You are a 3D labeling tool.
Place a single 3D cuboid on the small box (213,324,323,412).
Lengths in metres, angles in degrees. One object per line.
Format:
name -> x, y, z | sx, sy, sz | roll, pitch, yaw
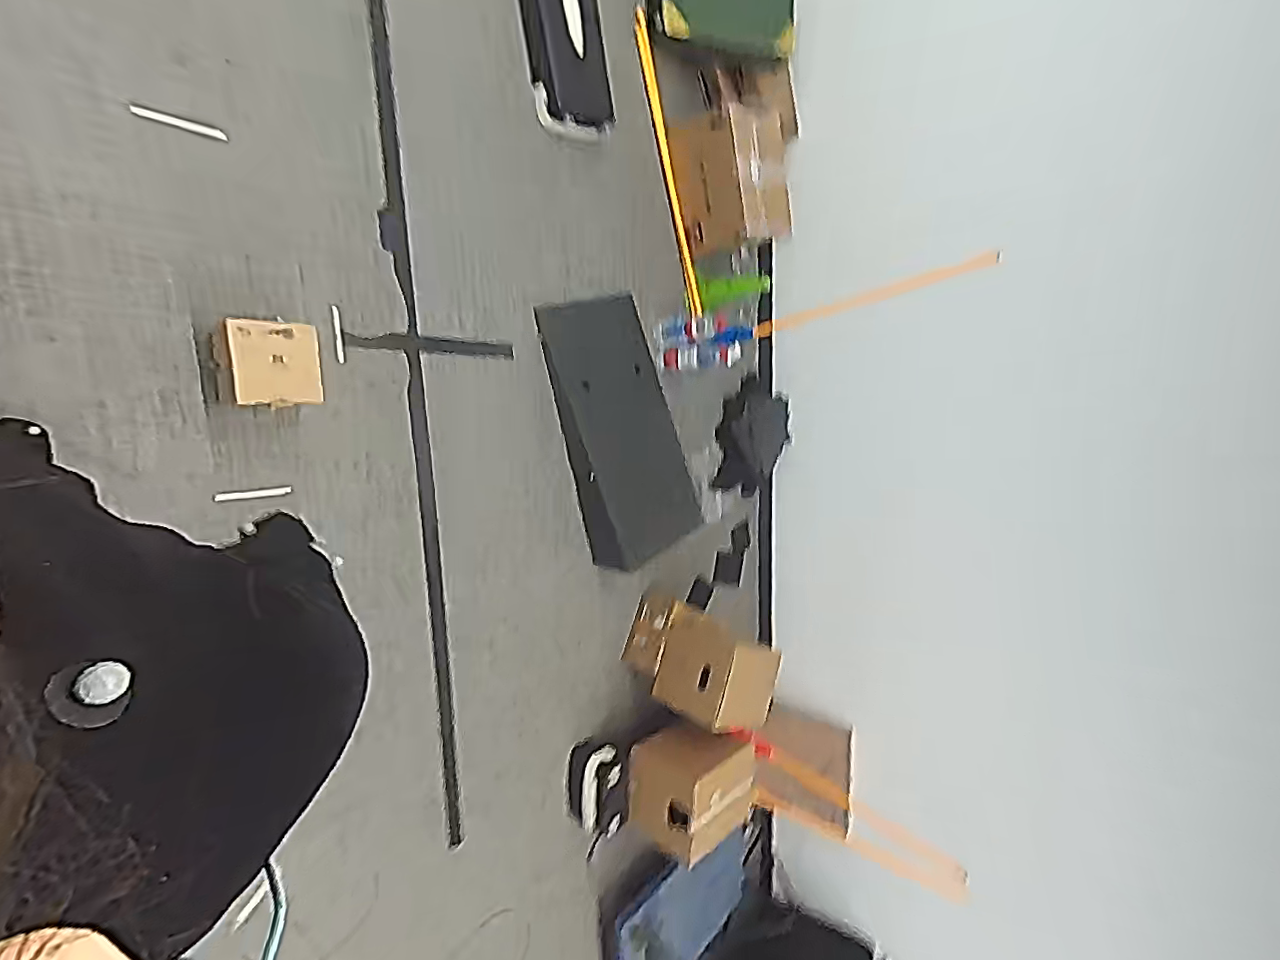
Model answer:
small box -> -0.832, -0.244, 1.209 | 0.168, 0.176, 0.179 | -9, 102, -47
